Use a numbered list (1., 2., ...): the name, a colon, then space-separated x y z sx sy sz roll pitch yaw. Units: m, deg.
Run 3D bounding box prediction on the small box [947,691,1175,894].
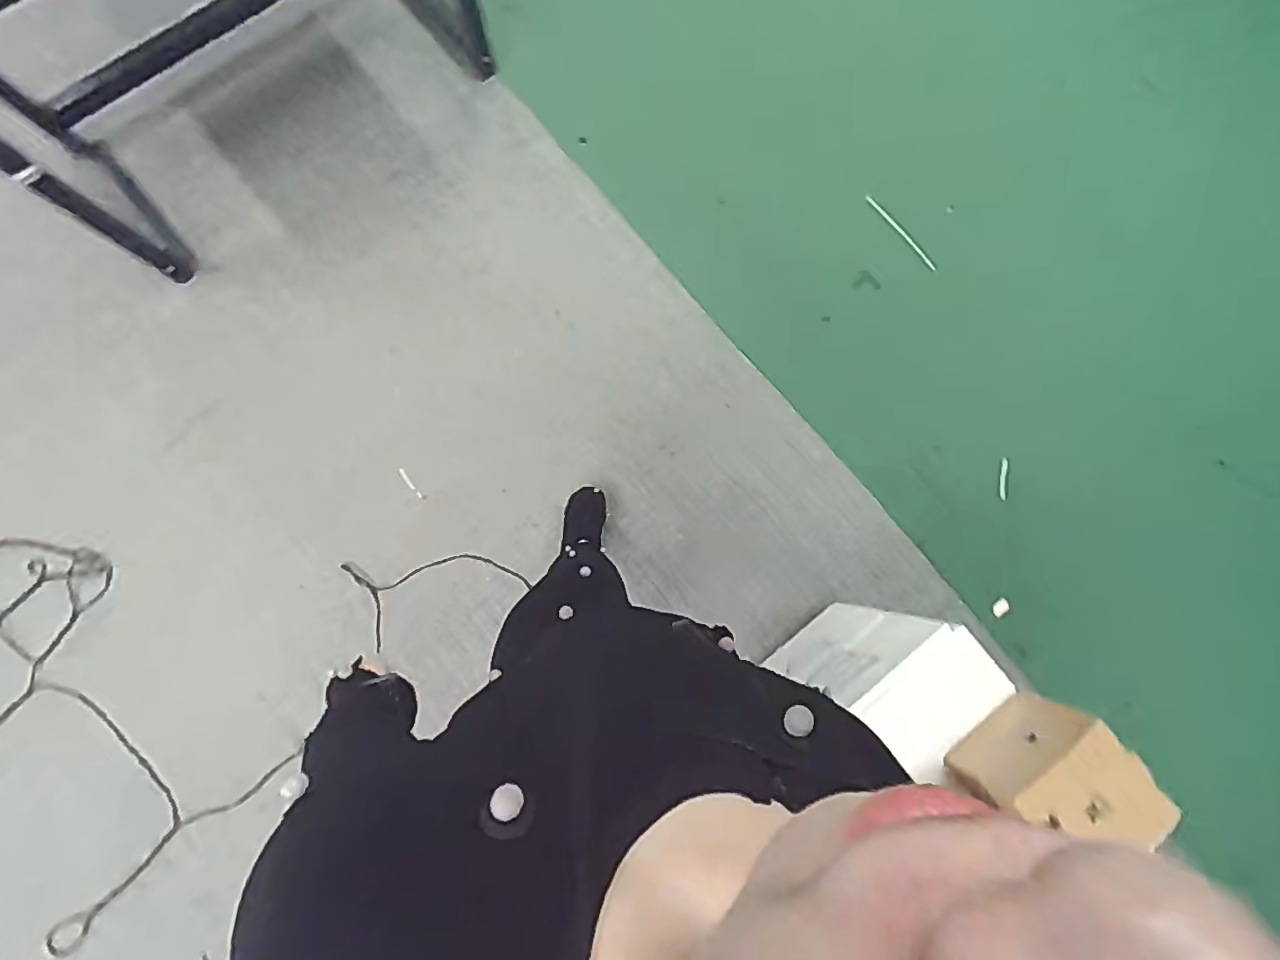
1. small box: 0.616 0.450 0.816 0.179 0.176 0.168 -38 85 -6
